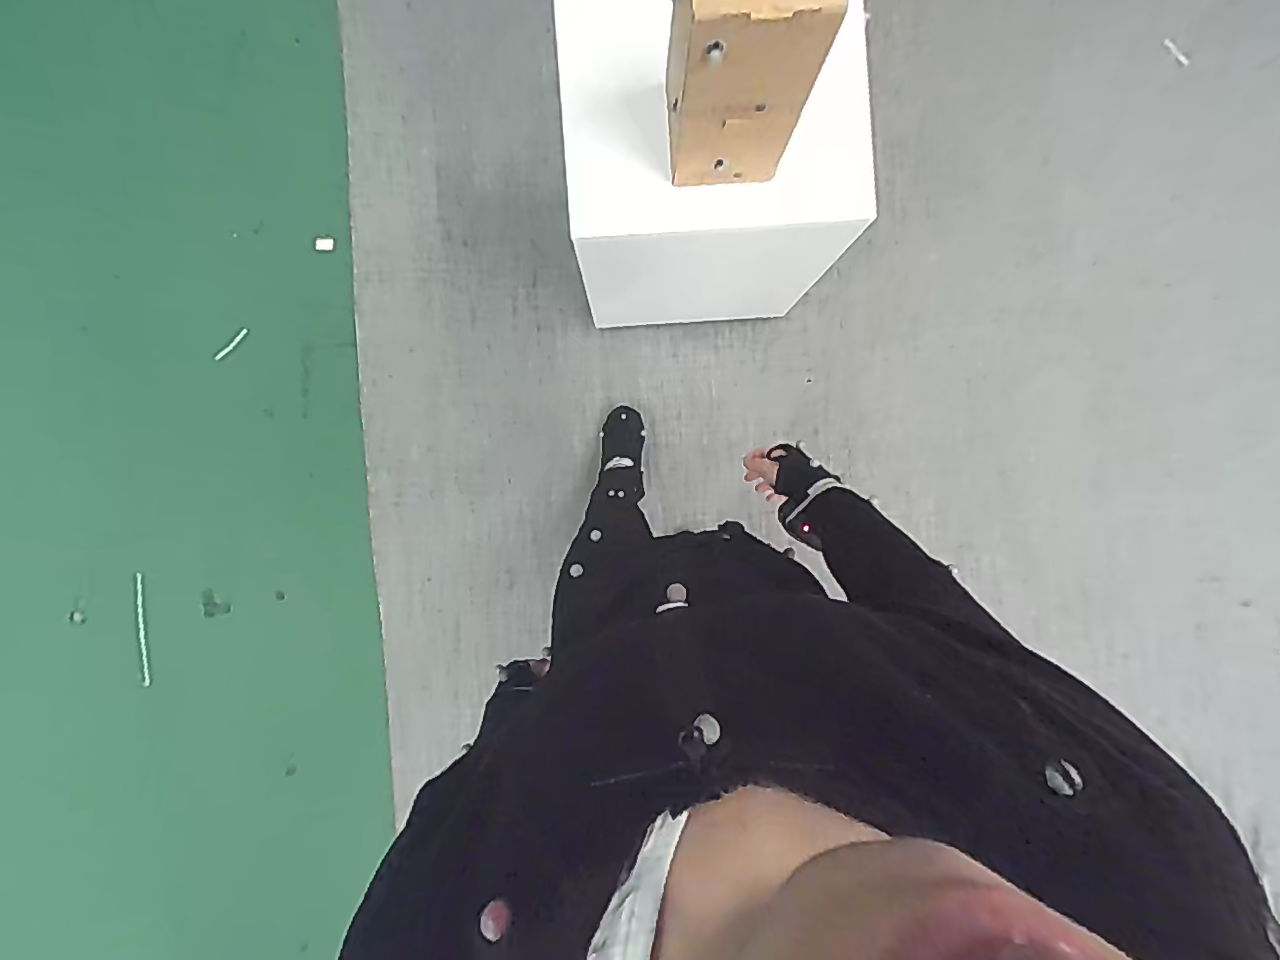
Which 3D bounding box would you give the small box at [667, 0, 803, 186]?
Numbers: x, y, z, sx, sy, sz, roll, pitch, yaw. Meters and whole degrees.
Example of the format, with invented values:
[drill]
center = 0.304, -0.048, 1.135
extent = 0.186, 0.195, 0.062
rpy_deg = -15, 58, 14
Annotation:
[small box]
center = 0.129, -0.566, 0.795
extent = 0.168, 0.176, 0.179
rpy_deg = -4, 90, 0
